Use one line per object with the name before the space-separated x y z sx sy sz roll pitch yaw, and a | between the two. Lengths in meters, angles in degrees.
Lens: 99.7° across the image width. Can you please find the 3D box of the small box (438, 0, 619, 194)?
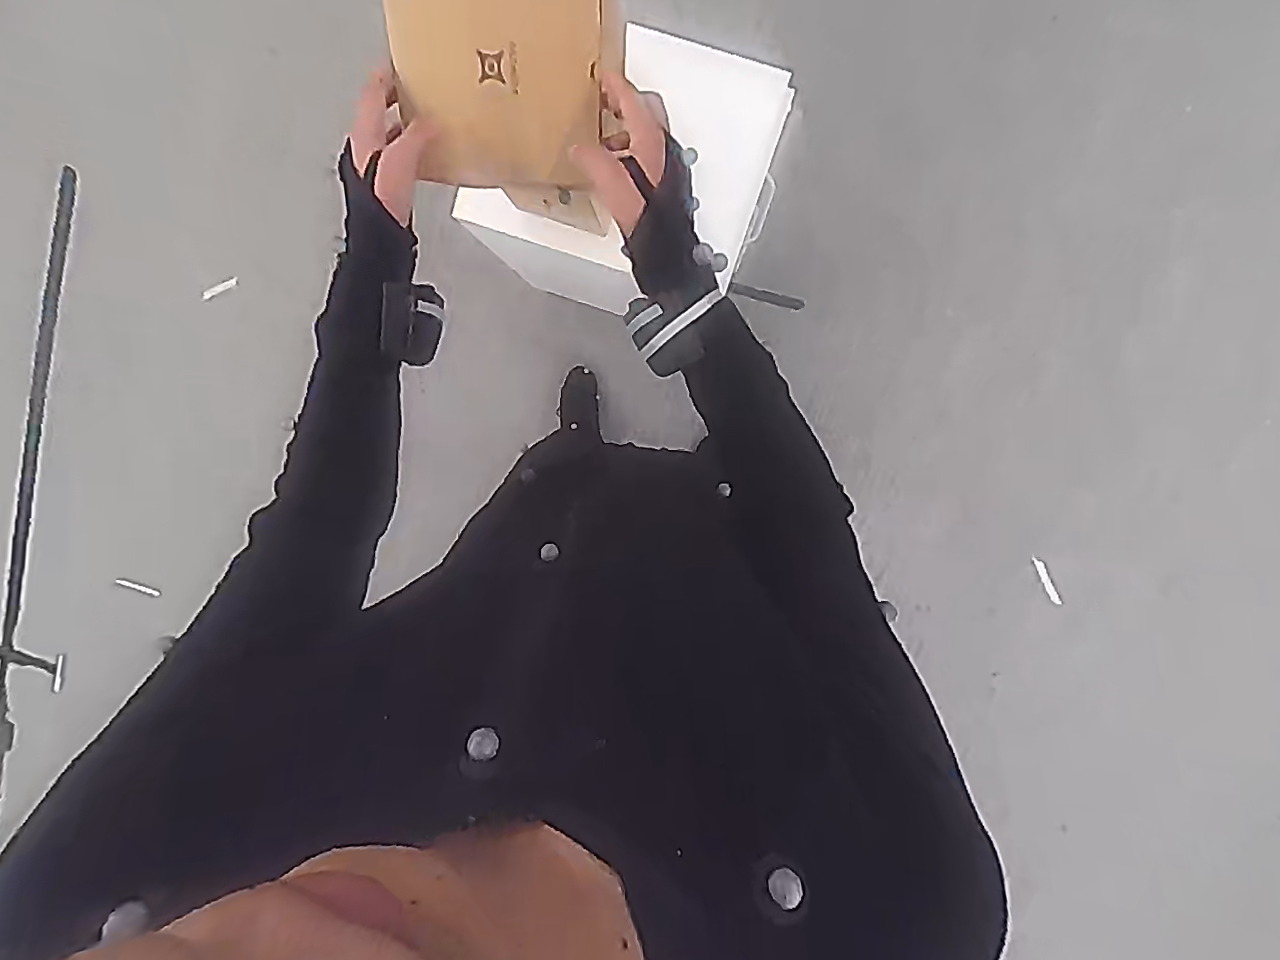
small box | -0.133 -0.520 0.713 0.168 0.176 0.179 21 98 2
